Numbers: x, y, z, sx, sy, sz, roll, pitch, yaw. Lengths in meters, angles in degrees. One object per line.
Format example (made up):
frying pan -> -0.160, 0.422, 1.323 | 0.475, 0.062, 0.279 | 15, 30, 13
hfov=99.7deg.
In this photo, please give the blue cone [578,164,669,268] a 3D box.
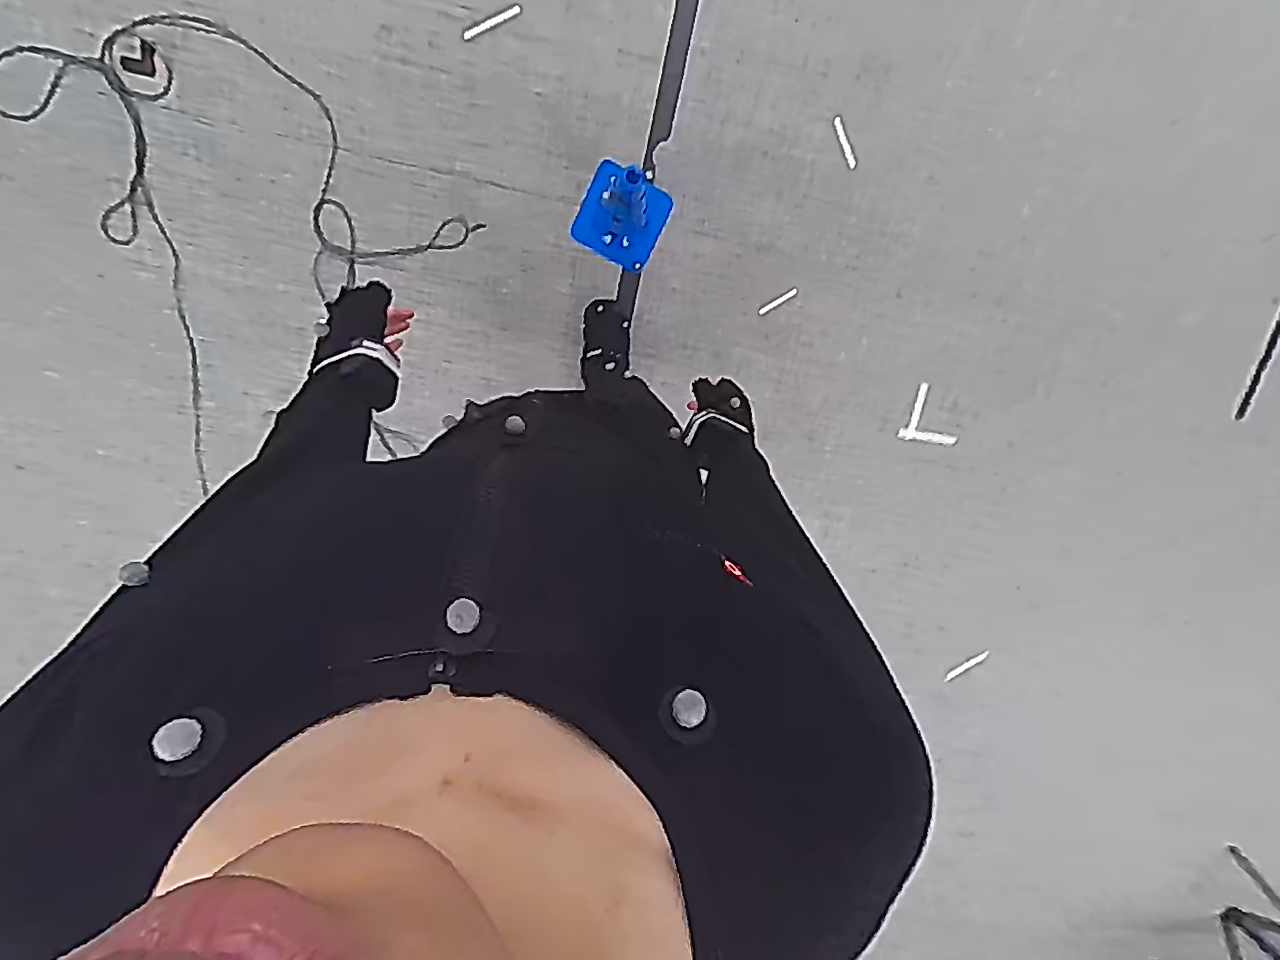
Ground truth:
blue cone -> -0.024, -0.599, 1.158 | 0.192, 0.380, 0.193 | 27, 101, -12
